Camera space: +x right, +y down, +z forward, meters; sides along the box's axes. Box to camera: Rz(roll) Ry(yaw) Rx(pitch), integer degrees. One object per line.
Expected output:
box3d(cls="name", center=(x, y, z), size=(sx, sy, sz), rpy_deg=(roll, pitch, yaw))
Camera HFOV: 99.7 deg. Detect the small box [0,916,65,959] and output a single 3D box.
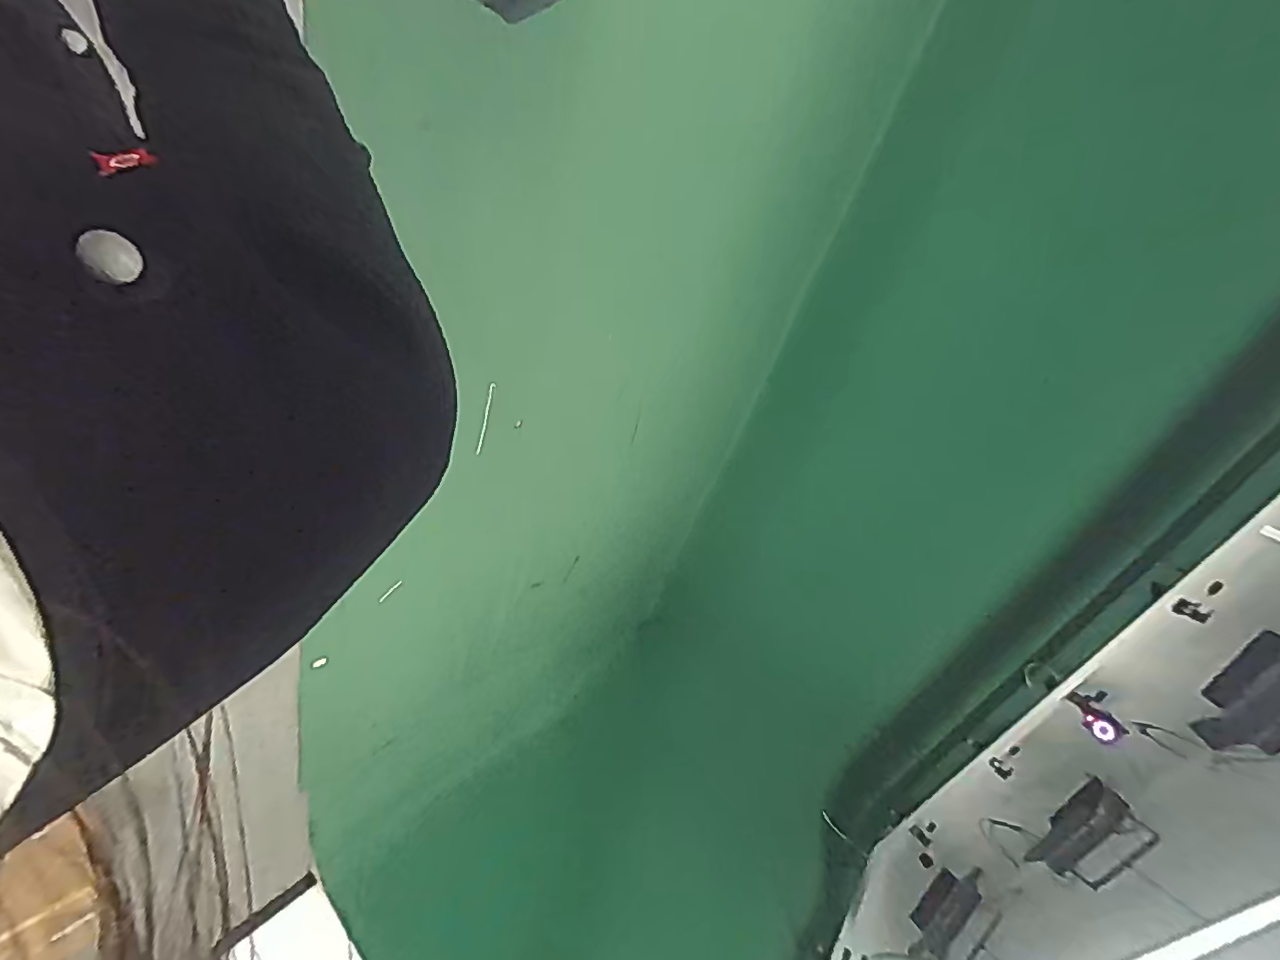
box3d(cls="small box", center=(-1.615, 1.288, 1.397), size=(0.168, 0.176, 0.179), rpy_deg=(-19, 138, -52))
